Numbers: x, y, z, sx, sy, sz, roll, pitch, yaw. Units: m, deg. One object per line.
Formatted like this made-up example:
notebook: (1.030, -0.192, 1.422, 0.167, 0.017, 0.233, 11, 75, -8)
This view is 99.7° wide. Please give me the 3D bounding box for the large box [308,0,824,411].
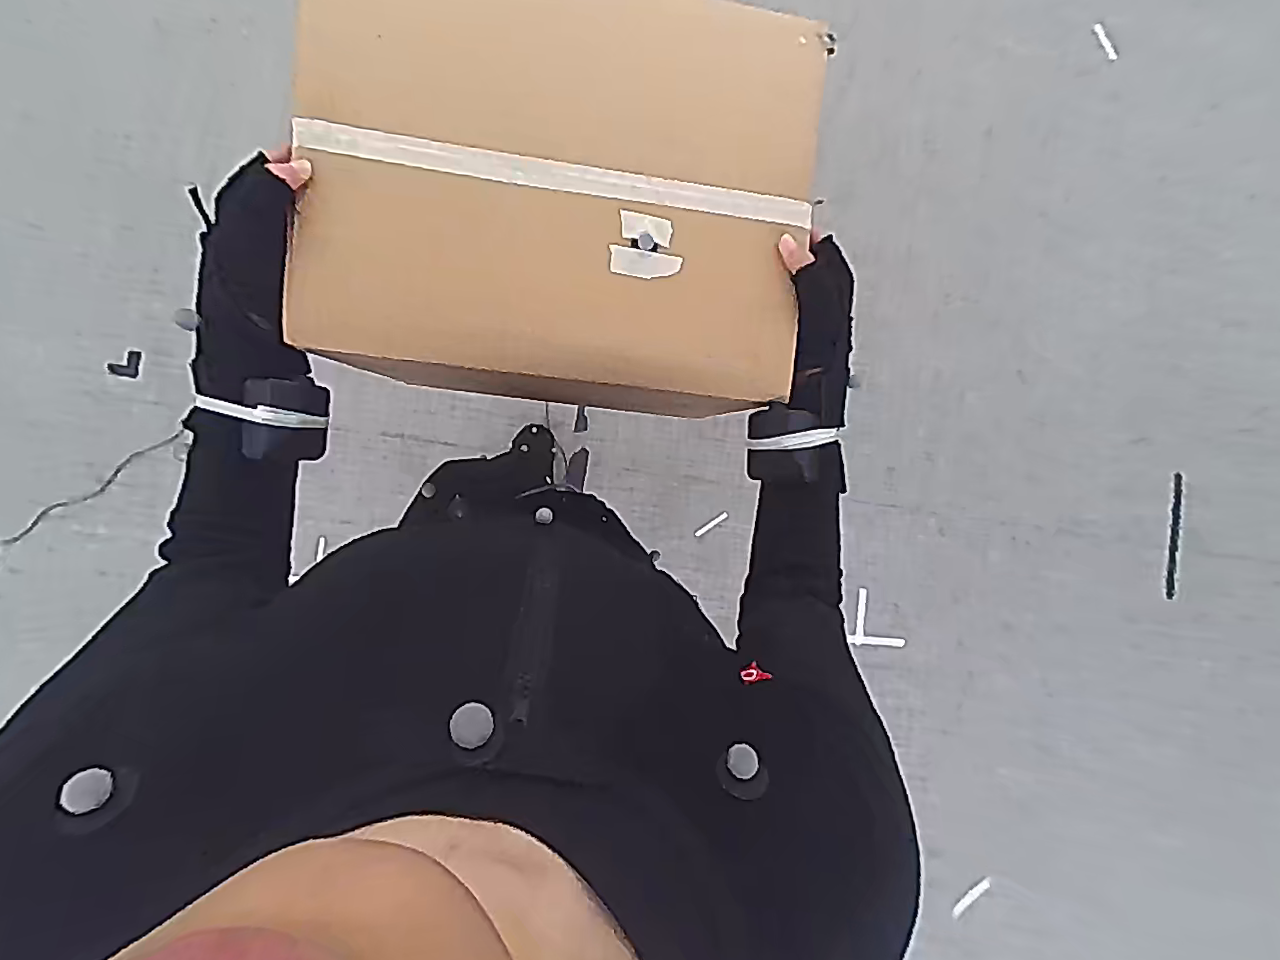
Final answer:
large box: (-0.074, -0.252, 0.586, 0.408, 0.320, 0.320, 5, 95, -8)
